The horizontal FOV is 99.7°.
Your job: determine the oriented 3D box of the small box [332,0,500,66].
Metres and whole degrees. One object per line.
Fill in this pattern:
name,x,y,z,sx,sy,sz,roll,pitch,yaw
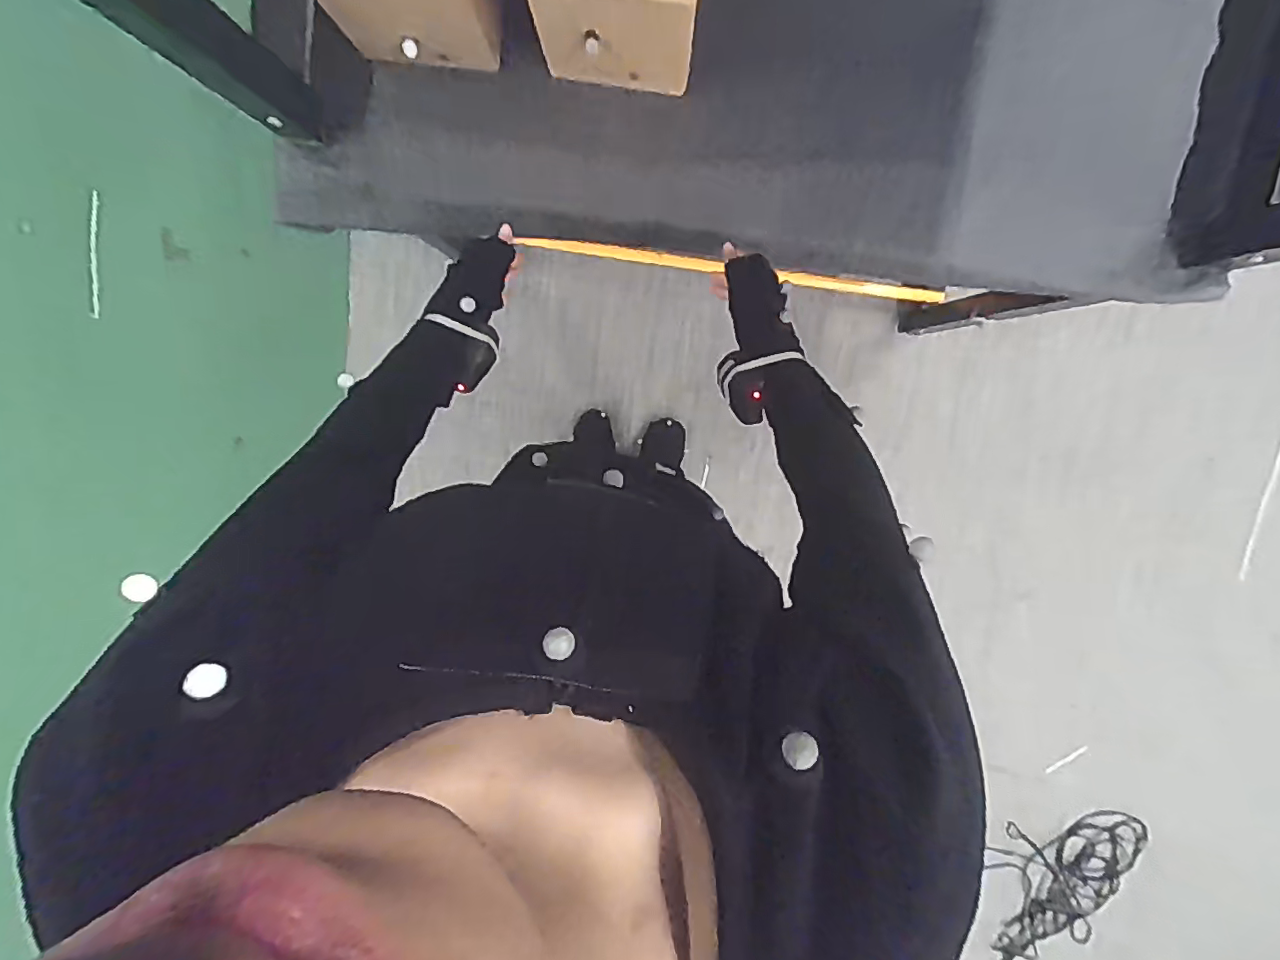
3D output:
small box,-0.244,-0.577,0.554,0.168,0.176,0.179,5,100,-1

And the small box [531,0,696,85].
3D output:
small box,-0.018,-0.553,0.559,0.168,0.176,0.179,8,99,-1
